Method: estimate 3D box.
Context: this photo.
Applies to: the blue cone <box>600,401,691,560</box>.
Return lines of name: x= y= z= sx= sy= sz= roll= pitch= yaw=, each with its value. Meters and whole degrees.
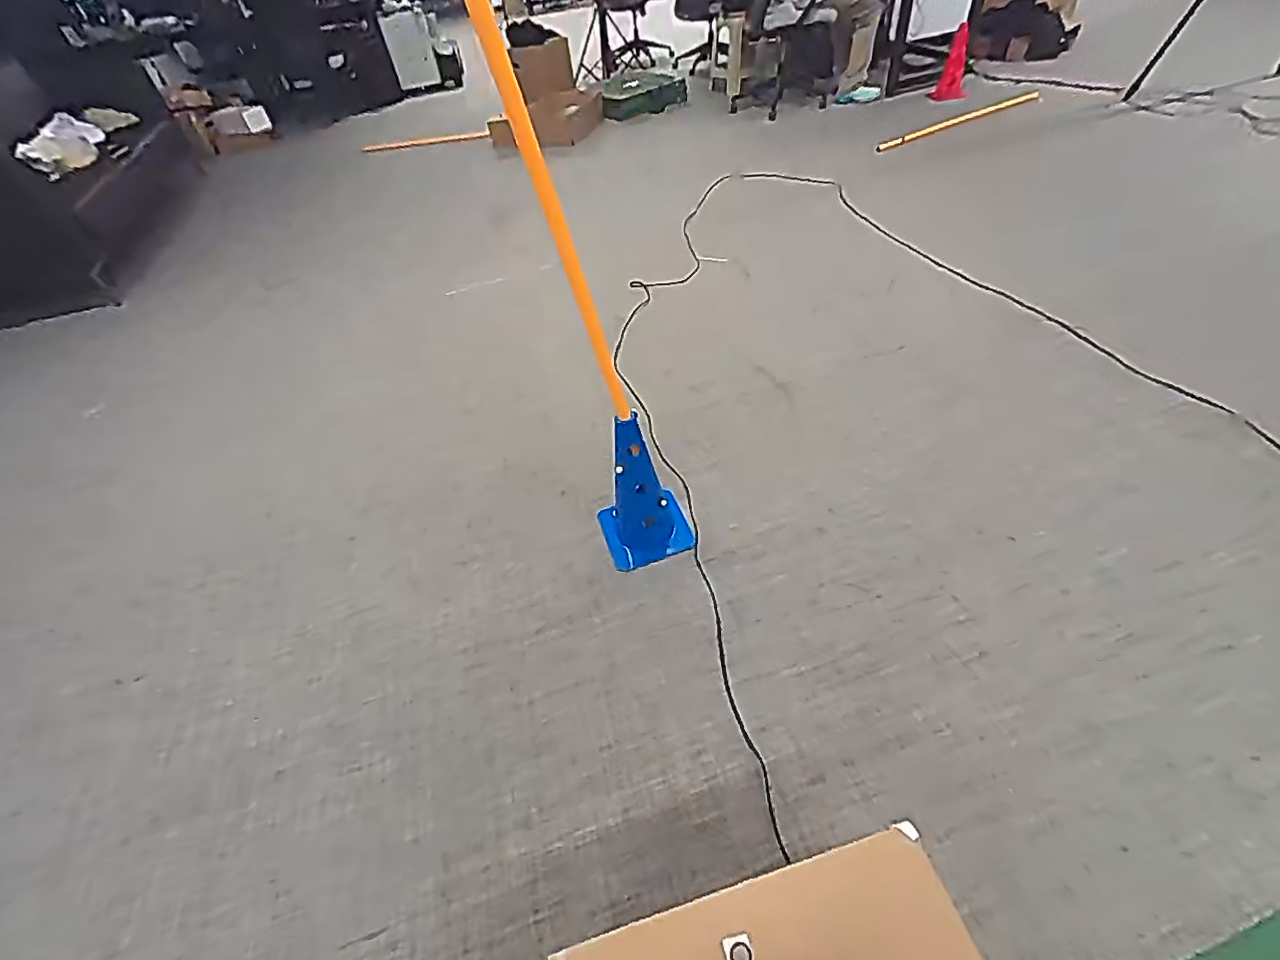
blue cone: x=-0.010 y=-0.011 z=1.177 sx=0.193 sy=0.380 sz=0.192 roll=-21 pitch=47 yaw=-9
